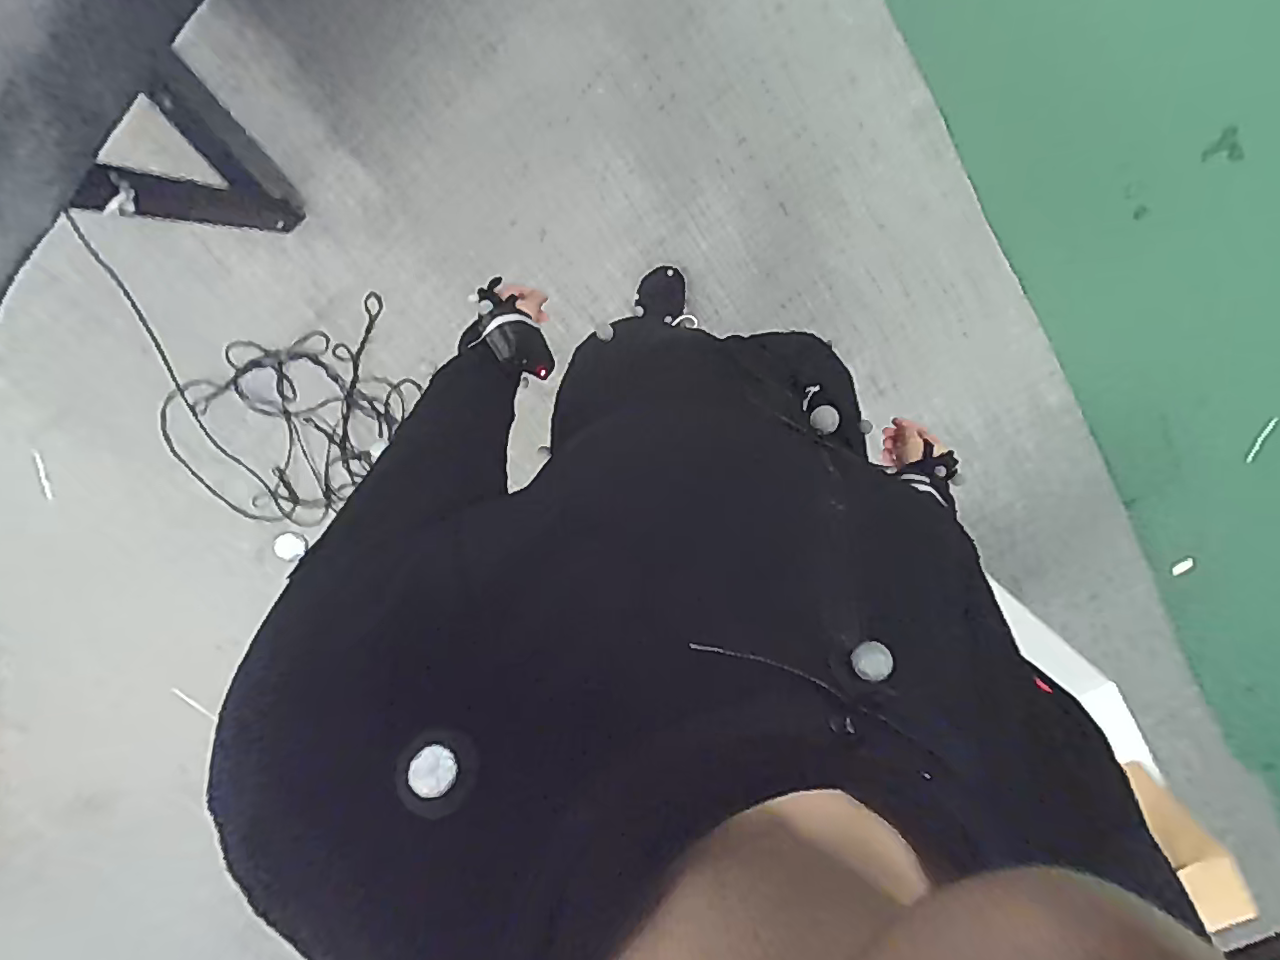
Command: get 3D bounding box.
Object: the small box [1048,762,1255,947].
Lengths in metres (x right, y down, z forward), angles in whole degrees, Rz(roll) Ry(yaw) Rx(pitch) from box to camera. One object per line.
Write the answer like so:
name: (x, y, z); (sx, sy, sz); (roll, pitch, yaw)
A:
small box: (0.844, 0.621, 0.909); (0.168, 0.176, 0.179); (-33, 106, 13)
